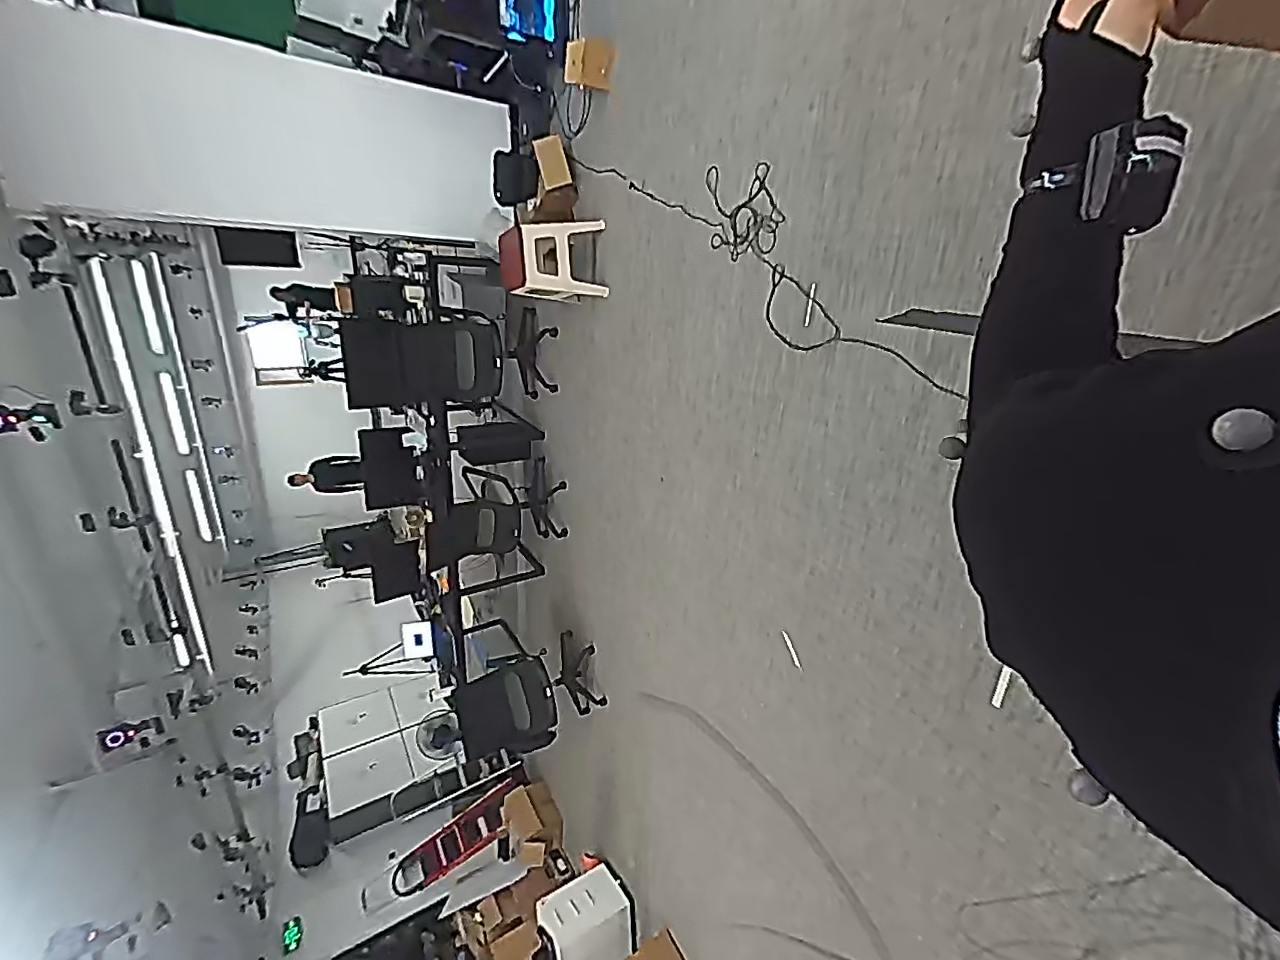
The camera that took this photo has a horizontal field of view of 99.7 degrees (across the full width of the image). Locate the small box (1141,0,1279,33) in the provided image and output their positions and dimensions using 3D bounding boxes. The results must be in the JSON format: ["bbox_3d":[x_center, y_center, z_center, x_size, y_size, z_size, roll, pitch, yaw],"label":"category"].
[{"bbox_3d":[0.427,-0.441,0.356,0.179,0.176,0.168,116,136,-59],"label":"small box"}]
